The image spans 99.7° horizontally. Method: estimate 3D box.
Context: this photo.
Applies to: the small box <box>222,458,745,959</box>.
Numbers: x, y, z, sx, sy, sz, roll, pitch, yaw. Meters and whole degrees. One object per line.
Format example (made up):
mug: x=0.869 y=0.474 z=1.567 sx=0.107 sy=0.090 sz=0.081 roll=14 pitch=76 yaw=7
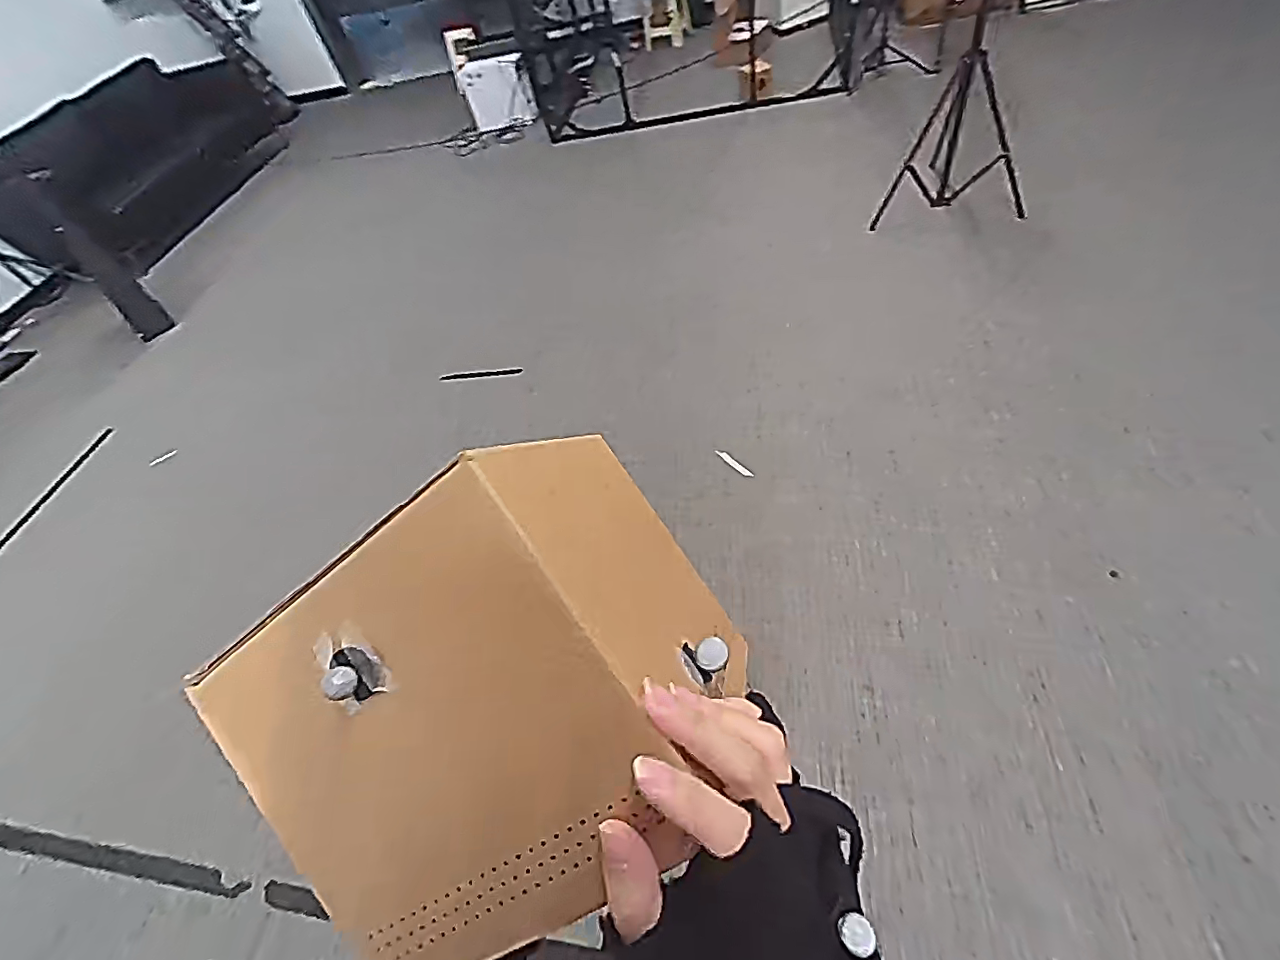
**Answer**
small box: x=-0.063 y=0.109 z=0.301 sx=0.179 sy=0.168 sz=0.176 roll=-35 pitch=89 yaw=13
